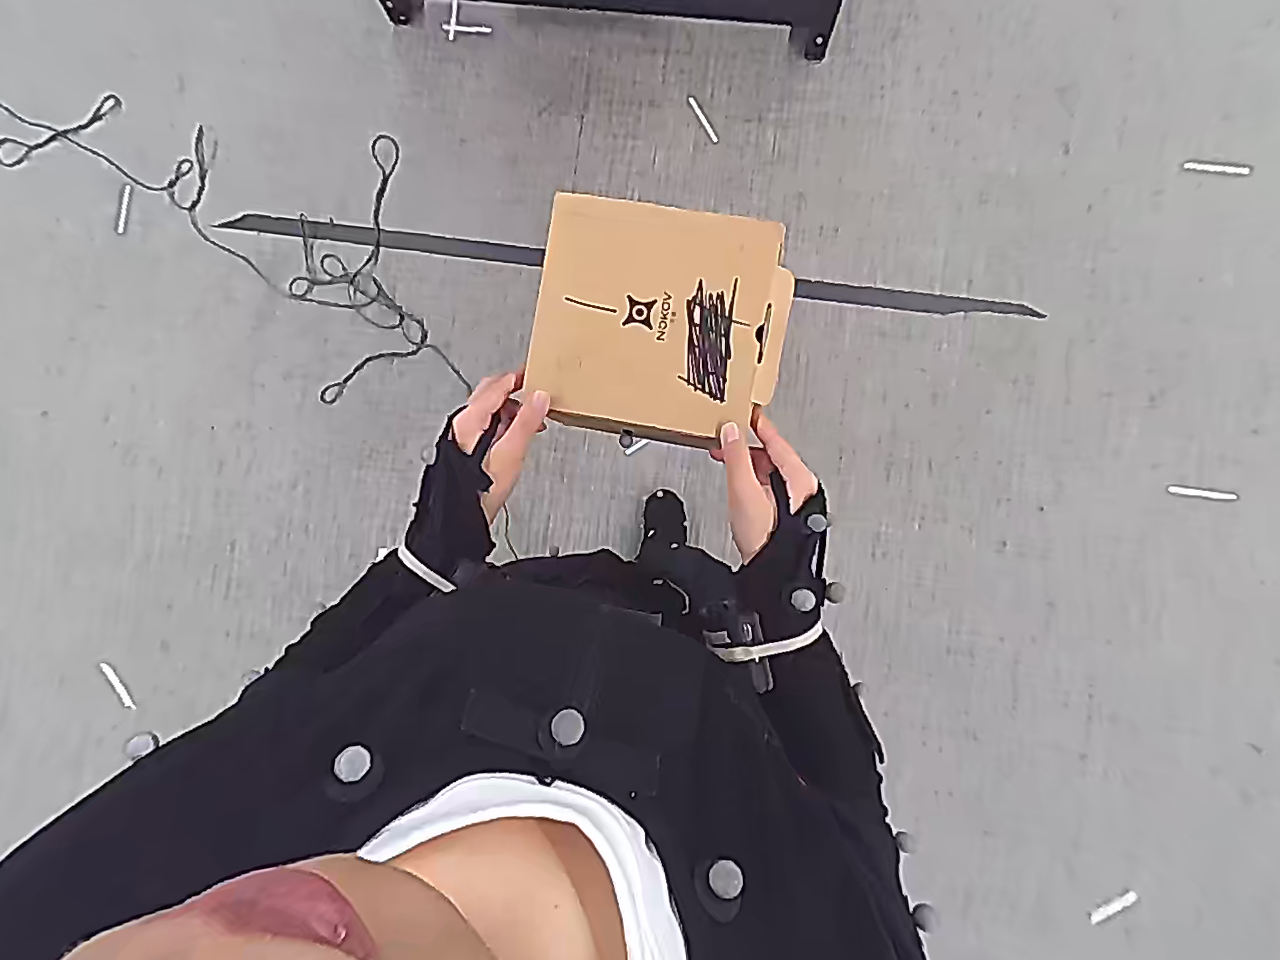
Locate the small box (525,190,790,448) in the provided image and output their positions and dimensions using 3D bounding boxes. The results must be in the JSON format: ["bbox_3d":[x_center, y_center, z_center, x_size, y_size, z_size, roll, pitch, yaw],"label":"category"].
[{"bbox_3d":[0.016,-0.123,0.481,0.179,0.176,0.168,10,91,3],"label":"small box"}]

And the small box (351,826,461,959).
[{"bbox_3d":[-0.519,0.928,1.222,0.168,0.176,0.179,5,88,3],"label":"small box"}]
